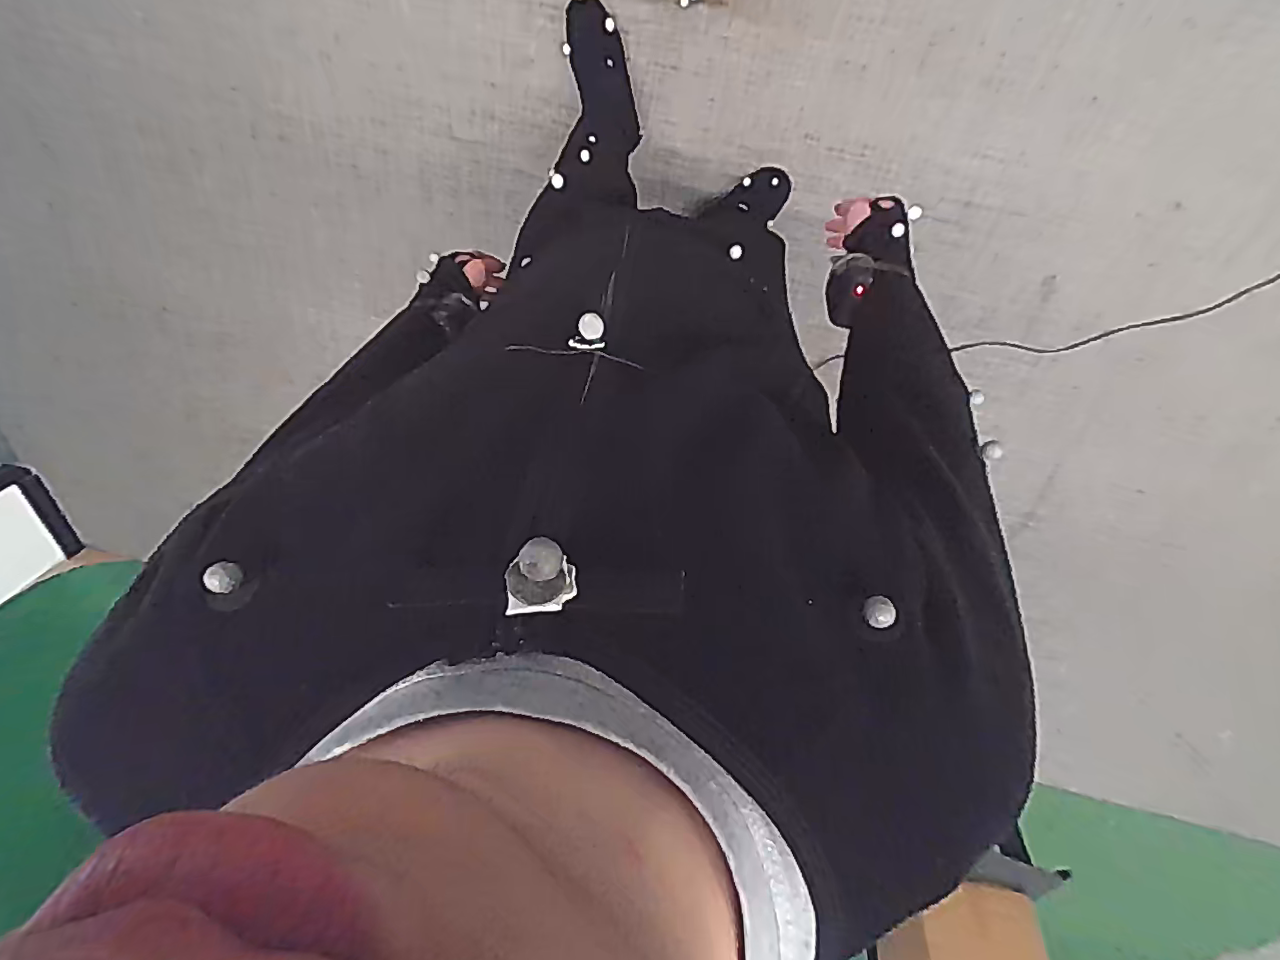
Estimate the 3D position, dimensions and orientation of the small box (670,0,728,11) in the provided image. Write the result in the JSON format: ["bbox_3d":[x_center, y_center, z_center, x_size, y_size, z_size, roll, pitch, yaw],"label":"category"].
[{"bbox_3d":[0.073,-0.860,0.838,0.168,0.176,0.179,13,127,1],"label":"small box"}]

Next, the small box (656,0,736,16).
[{"bbox_3d":[0.104,-0.959,0.963,0.168,0.176,0.179,13,129,3],"label":"small box"}]

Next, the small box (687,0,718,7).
[{"bbox_3d":[0.051,-0.760,0.710,0.168,0.176,0.179,19,129,-3],"label":"small box"}]
